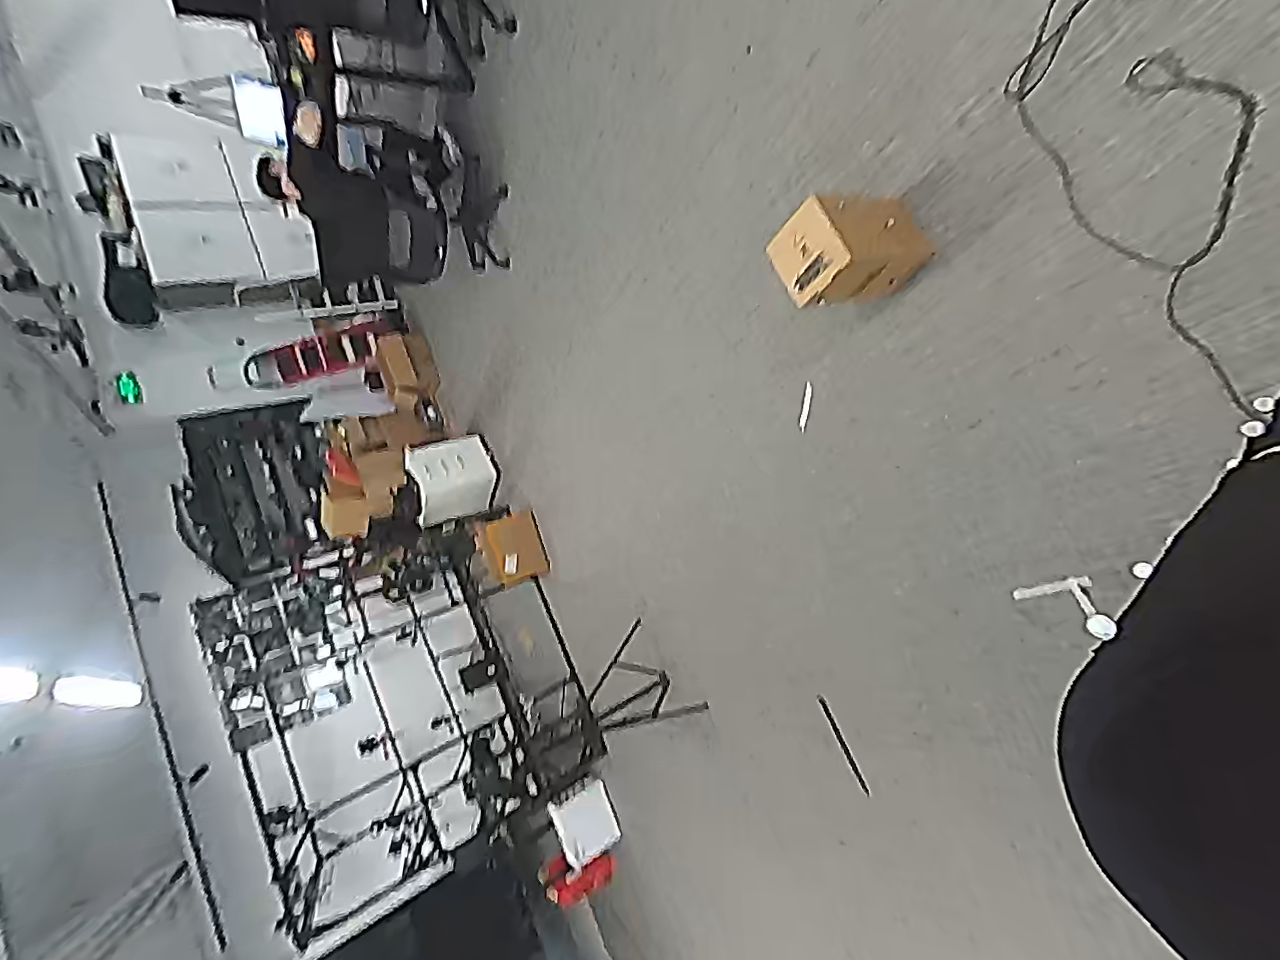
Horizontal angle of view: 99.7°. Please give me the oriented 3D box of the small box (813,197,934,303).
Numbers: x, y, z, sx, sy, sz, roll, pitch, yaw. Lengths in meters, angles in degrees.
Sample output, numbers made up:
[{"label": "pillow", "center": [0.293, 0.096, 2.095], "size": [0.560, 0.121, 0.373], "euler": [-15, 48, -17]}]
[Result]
[{"label": "small box", "center": [0.569, -0.559, 1.321], "size": [0.179, 0.176, 0.168], "euler": [62, 147, 15]}]
